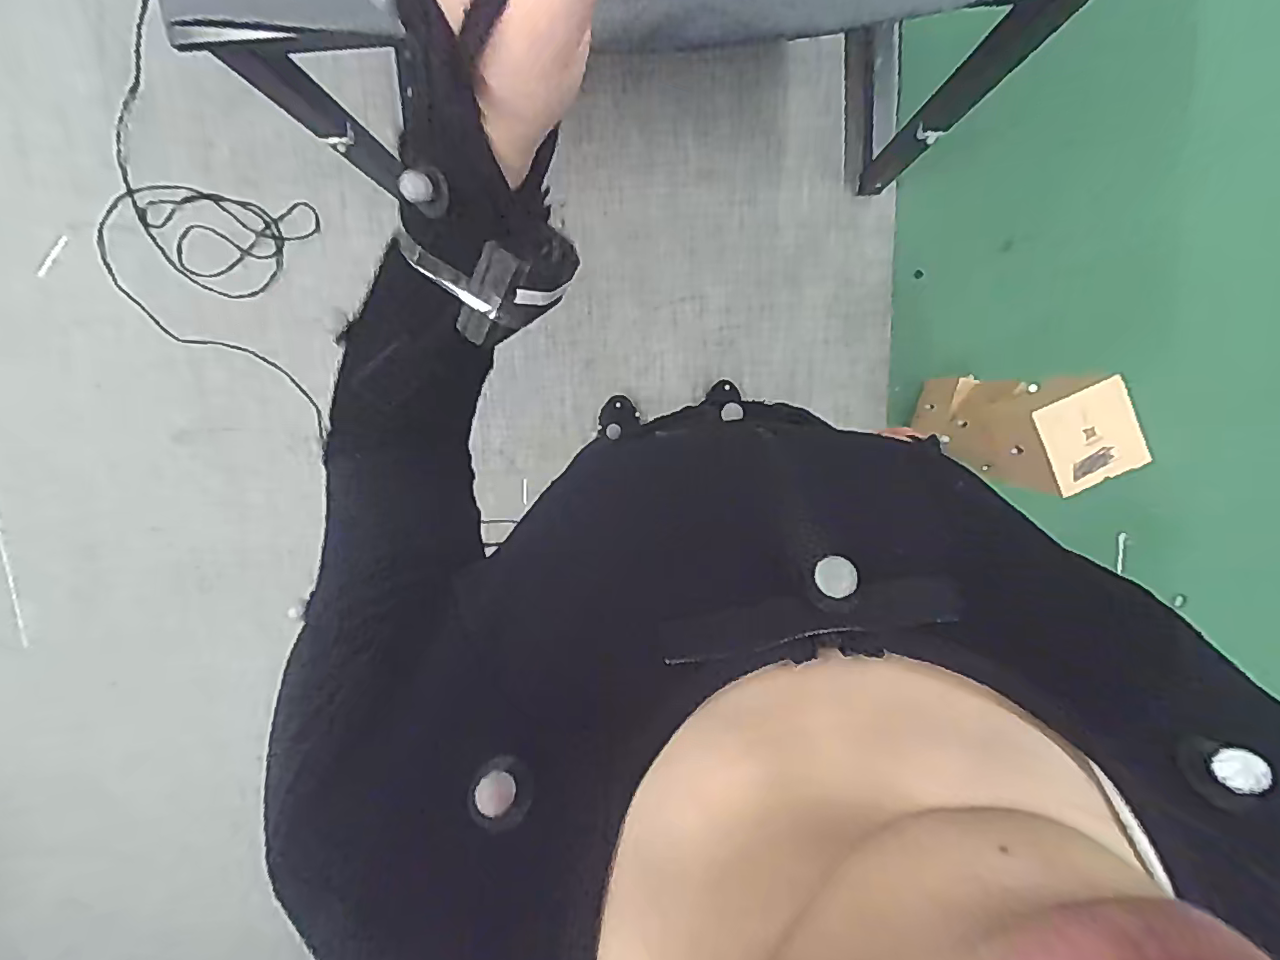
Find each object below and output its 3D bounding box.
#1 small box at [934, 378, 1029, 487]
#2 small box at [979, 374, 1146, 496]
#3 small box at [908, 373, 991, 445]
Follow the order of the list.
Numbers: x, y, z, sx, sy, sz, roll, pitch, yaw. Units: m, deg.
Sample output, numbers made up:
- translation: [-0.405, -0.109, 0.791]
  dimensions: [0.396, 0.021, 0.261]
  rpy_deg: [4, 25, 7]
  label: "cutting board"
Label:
- translation: [0.806, -0.109, 1.210]
  dimensions: [0.179, 0.176, 0.168]
  rpy_deg: [35, 99, -5]
  label: "small box"
- translation: [0.803, -0.093, 1.046]
  dimensions: [0.168, 0.176, 0.179]
  rpy_deg: [-25, 97, 6]
  label: "small box"
- translation: [0.814, -0.165, 1.365]
  dimensions: [0.179, 0.176, 0.168]
  rpy_deg: [14, 100, -2]
  label: "small box"
